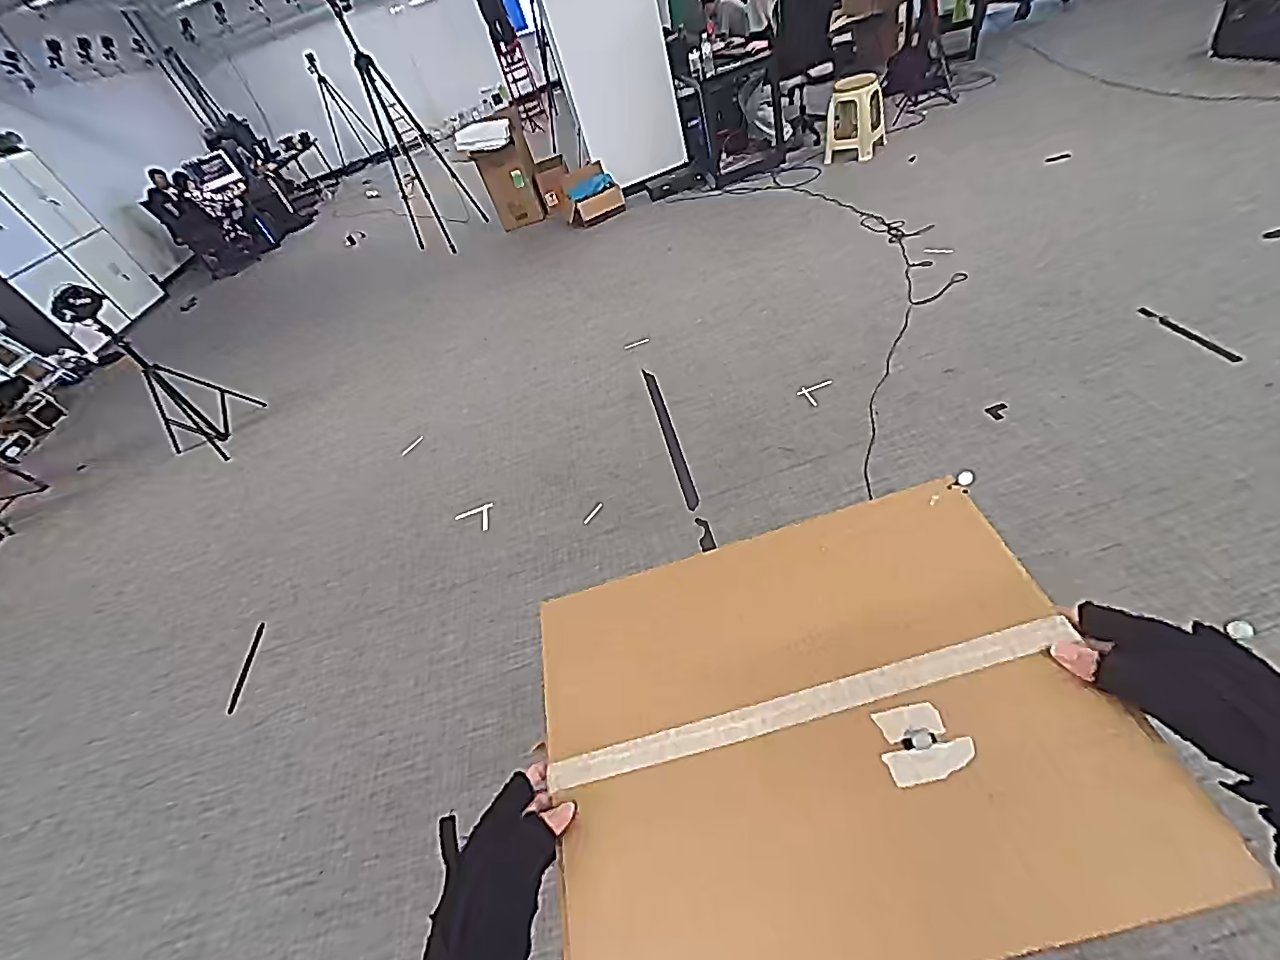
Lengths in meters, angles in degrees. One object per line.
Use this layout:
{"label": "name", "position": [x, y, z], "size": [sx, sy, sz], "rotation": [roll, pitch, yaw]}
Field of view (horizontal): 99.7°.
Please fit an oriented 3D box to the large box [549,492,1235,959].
{"label": "large box", "position": [0.164, 0.275, 0.528], "size": [0.408, 0.320, 0.320], "rotation": [-18, 48, 4]}
